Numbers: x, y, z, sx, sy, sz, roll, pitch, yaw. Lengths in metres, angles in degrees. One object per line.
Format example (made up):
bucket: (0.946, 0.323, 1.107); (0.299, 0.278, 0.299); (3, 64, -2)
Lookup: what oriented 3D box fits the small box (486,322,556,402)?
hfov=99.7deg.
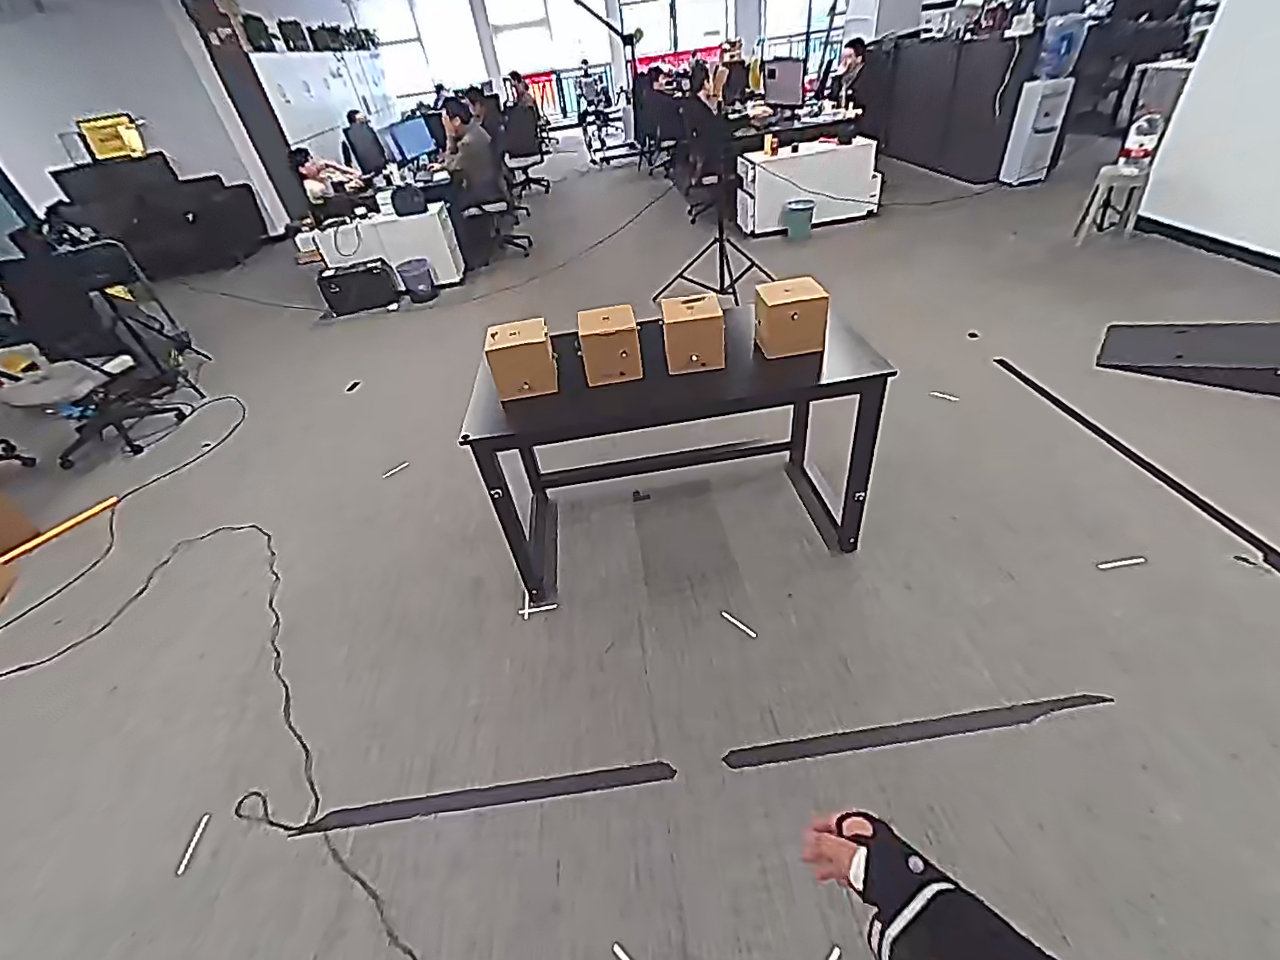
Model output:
small box: (-0.348, -0.353, 1.619); (0.179, 0.176, 0.168); (-9, 39, -3)

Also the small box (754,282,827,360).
small box: (0.446, -0.473, 1.622); (0.179, 0.176, 0.168); (-8, 39, 1)

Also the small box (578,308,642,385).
small box: (-0.090, -0.398, 1.631); (0.168, 0.176, 0.179); (-9, 38, -2)

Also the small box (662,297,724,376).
small box: (0.157, -0.429, 1.622); (0.168, 0.176, 0.179); (-6, 40, 2)
